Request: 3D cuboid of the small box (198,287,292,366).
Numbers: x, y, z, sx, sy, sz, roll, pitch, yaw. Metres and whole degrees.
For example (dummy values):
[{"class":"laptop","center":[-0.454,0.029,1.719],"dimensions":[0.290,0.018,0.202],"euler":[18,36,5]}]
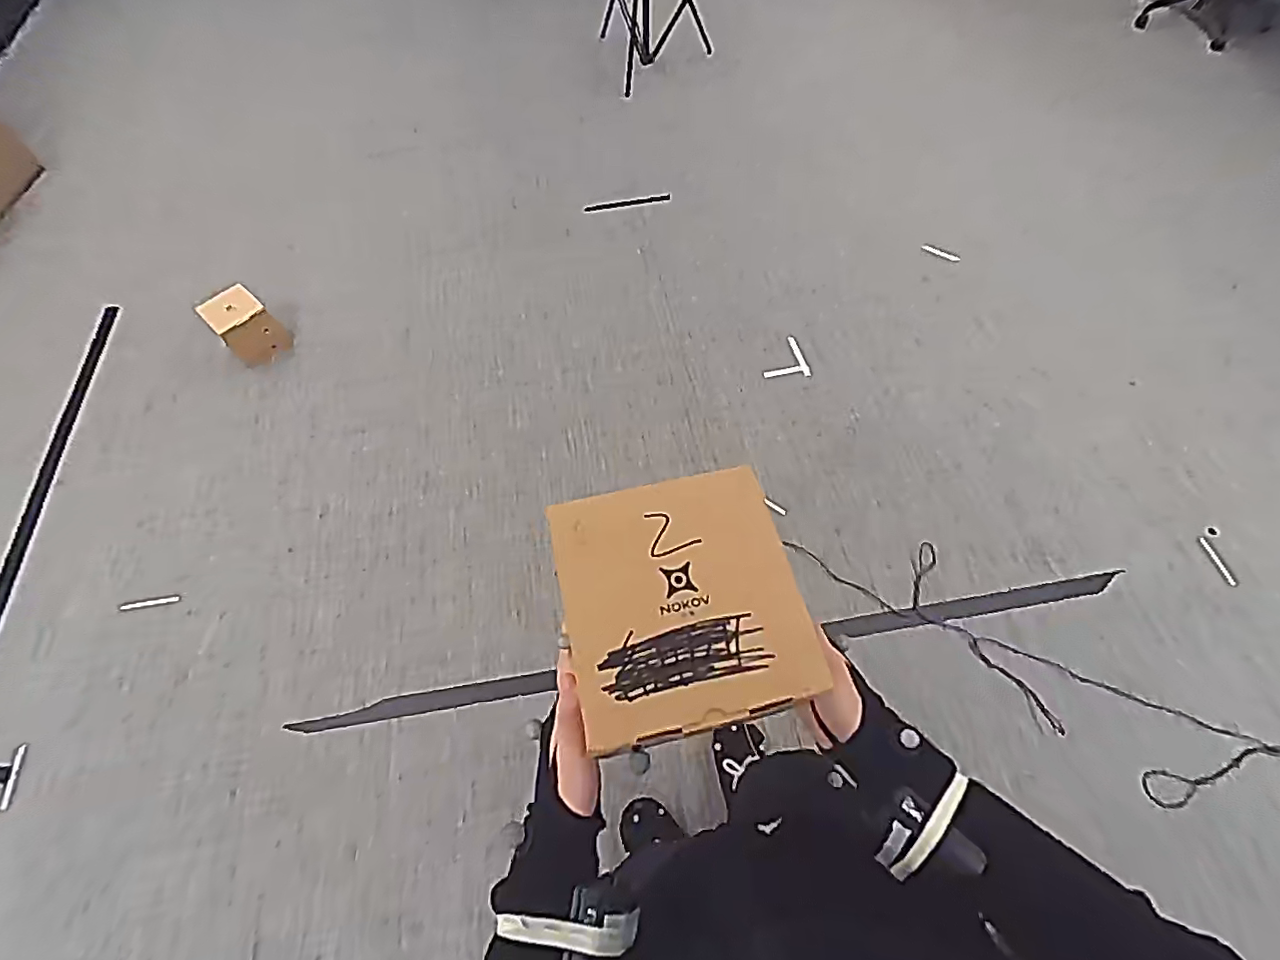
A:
[{"class":"small box","center":[-1.351,-0.519,1.861],"dimensions":[0.179,0.176,0.168],"euler":[38,68,20]}]
